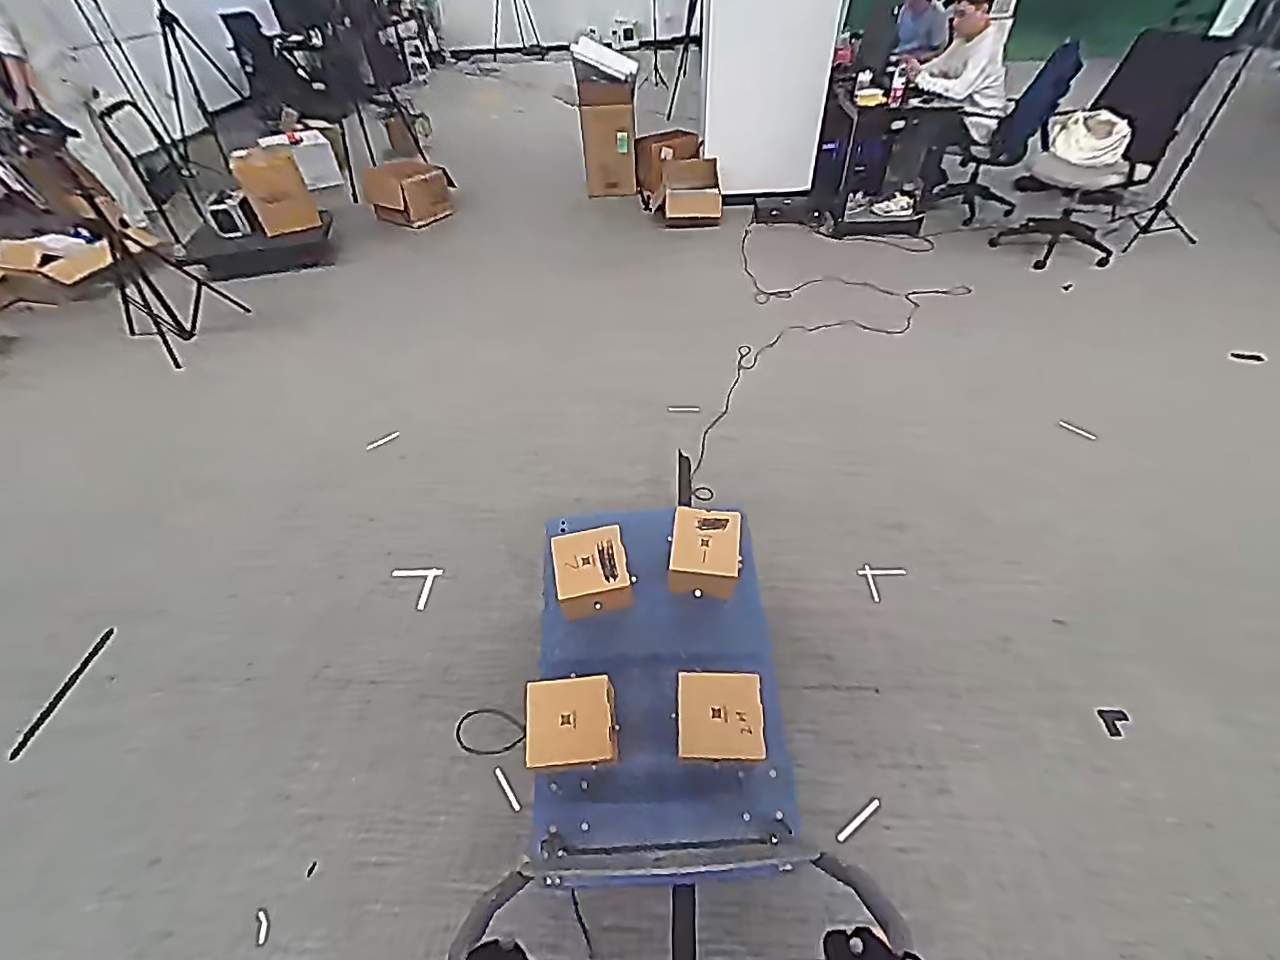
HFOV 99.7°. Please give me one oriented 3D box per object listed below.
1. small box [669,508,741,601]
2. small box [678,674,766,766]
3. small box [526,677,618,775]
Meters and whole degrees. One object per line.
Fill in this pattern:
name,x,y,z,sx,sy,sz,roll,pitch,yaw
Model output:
small box,0.165,0.193,1.392,0.168,0.176,0.179,5,60,6
small box,0.171,0.529,1.184,0.179,0.176,0.168,0,59,3
small box,-0.146,0.545,1.191,0.179,0.176,0.168,-5,58,-2
